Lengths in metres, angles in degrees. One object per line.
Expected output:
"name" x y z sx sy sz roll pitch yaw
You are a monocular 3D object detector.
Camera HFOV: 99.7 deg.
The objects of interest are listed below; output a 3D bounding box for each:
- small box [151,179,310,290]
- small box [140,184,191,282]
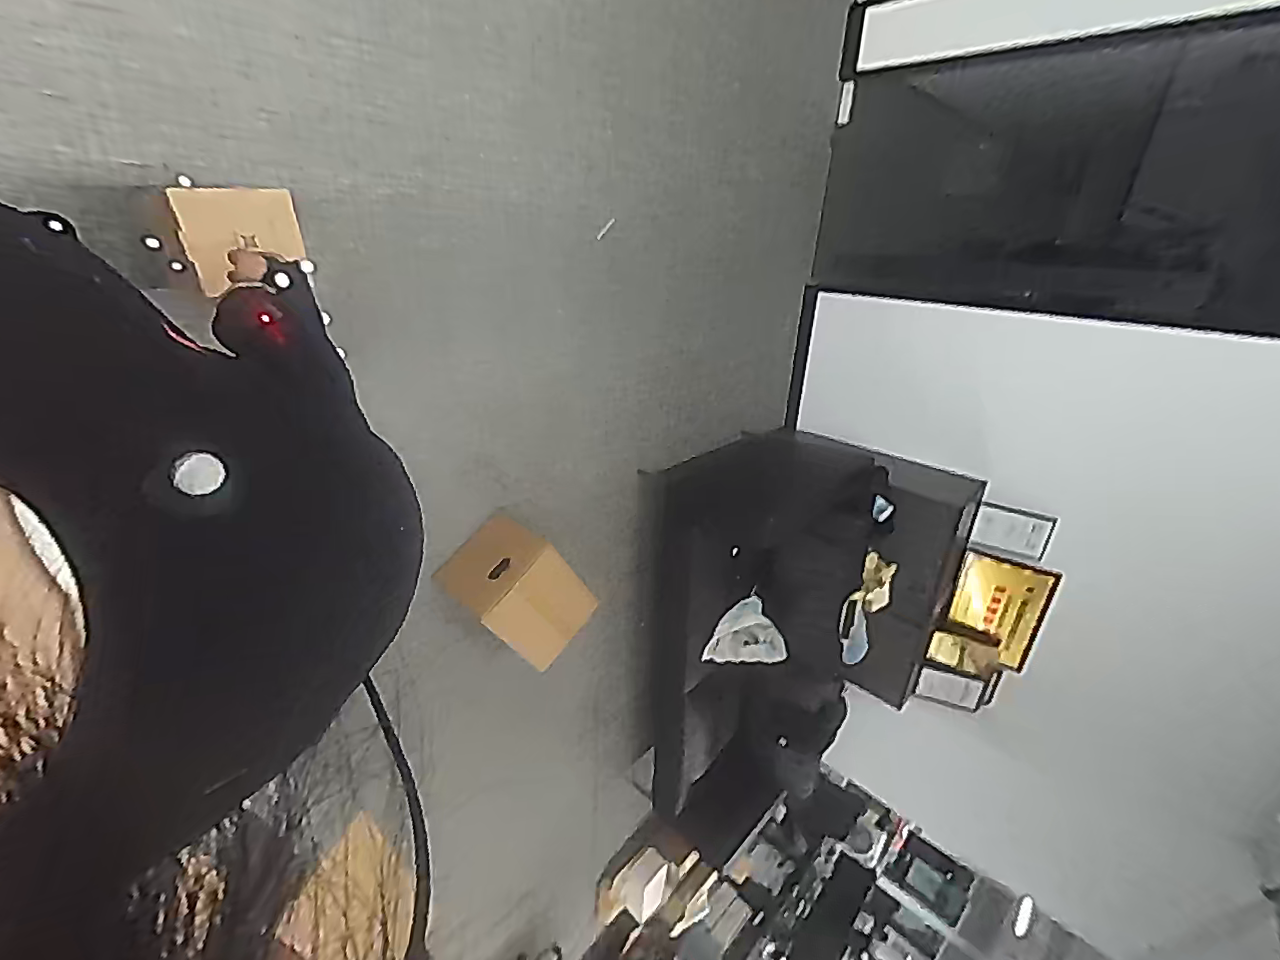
"small box" -0.738 -0.445 0.972 0.179 0.176 0.168 -28 131 -40
"small box" -0.855 -0.490 1.076 0.179 0.176 0.168 -24 127 -41
